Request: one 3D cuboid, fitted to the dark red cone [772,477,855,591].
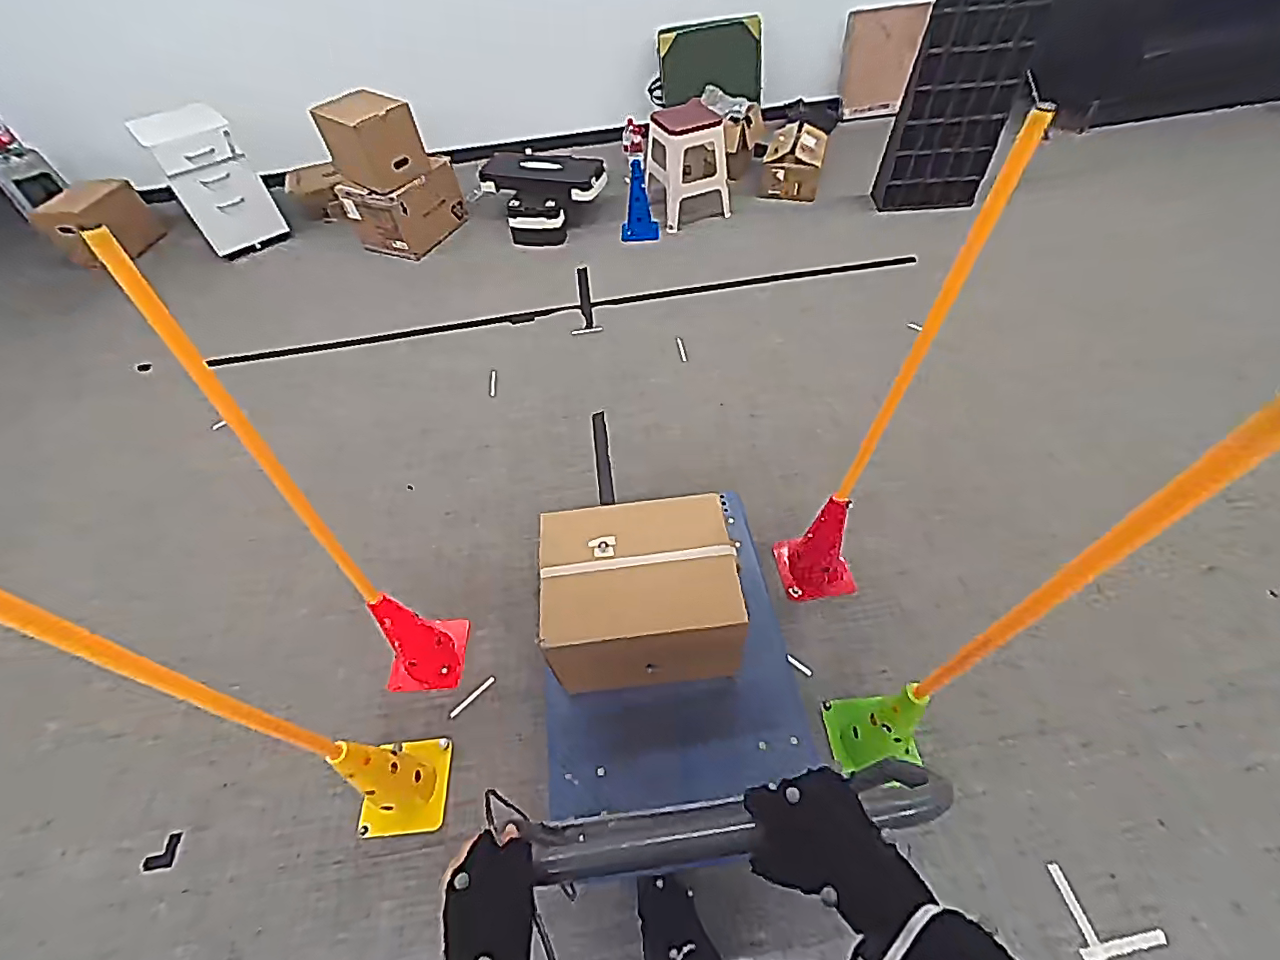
[{"bbox_3d":[0.503,0.131,1.472,0.201,0.394,0.202,-8,52,-3],"label":"dark red cone"}]

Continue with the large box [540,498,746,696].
[{"bbox_3d":[0.004,0.277,1.244,0.408,0.320,0.320,-8,52,0],"label":"large box"}]

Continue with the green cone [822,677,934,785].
[{"bbox_3d":[0.552,0.516,1.181,0.202,0.368,0.200,-5,51,0],"label":"green cone"}]

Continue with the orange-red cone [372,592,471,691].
[{"bbox_3d":[-0.599,0.388,1.398,0.198,0.360,0.199,-3,50,2],"label":"orange-red cone"}]
